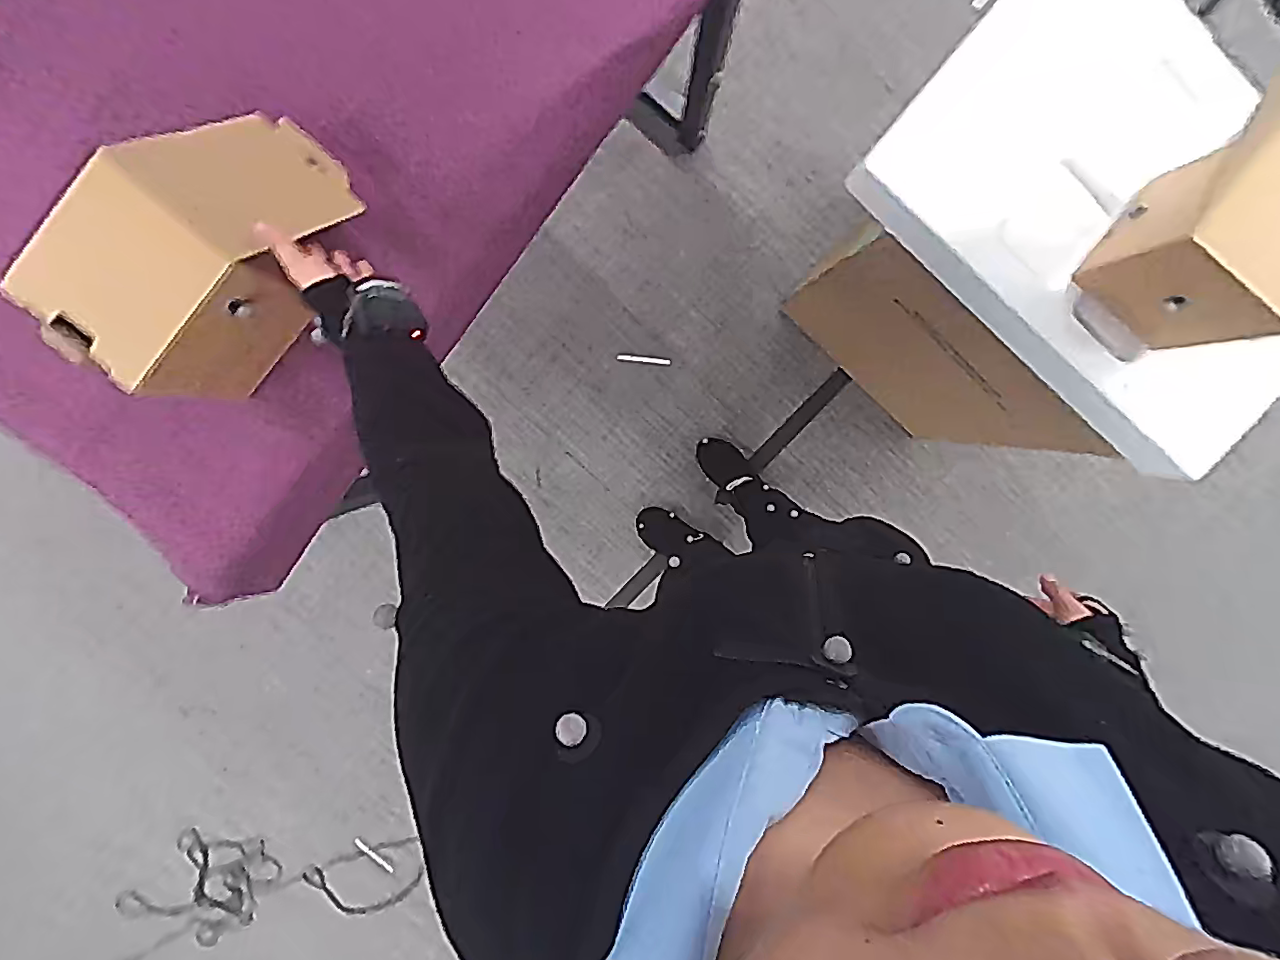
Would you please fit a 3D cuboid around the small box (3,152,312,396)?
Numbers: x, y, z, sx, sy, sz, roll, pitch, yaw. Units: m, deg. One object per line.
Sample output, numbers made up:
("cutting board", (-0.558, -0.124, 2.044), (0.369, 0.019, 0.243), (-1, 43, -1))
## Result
("small box", (-0.522, -0.215, 0.620), (0.168, 0.176, 0.179), (41, 94, -4))
